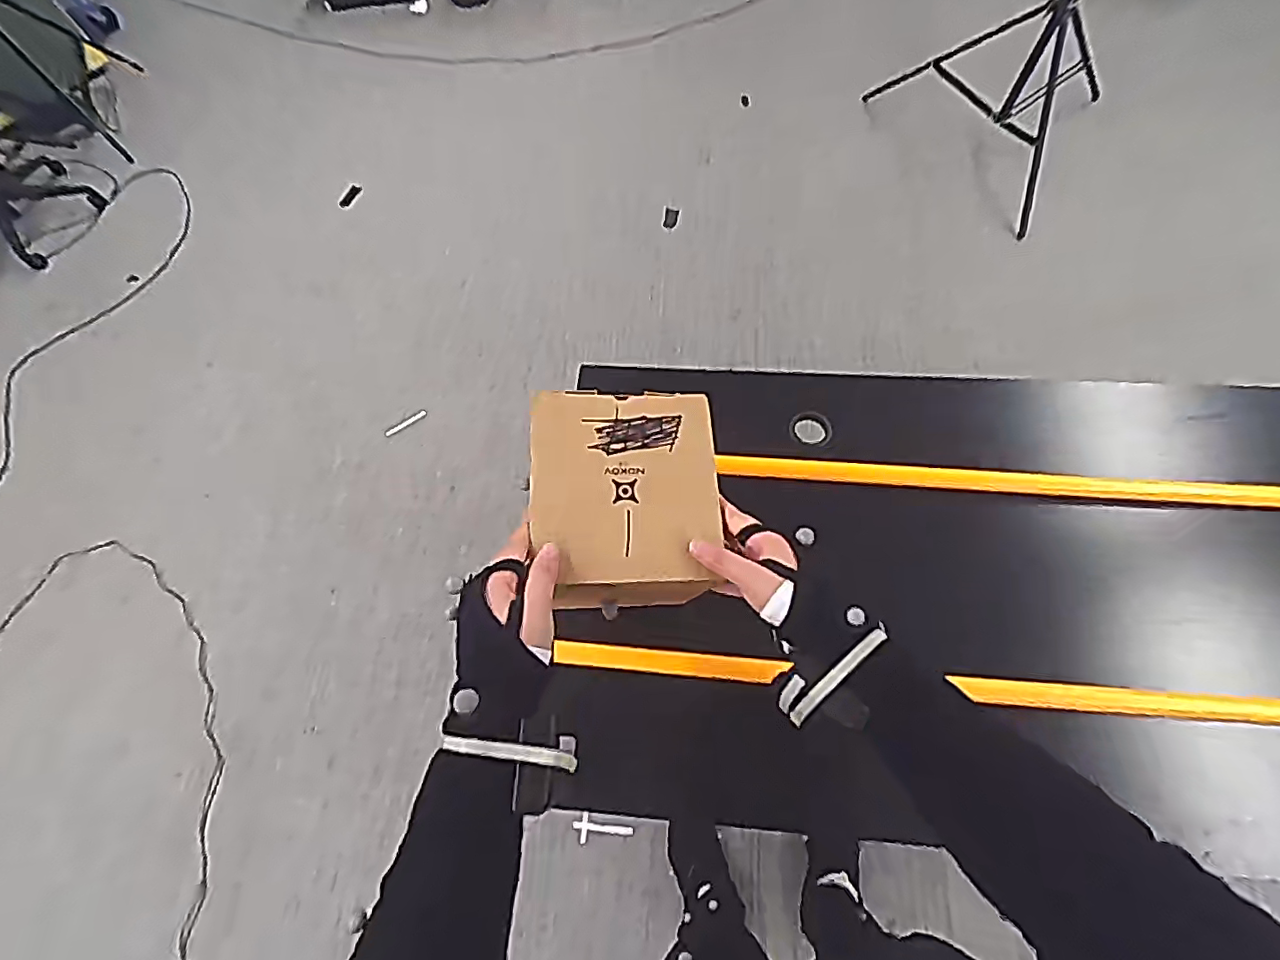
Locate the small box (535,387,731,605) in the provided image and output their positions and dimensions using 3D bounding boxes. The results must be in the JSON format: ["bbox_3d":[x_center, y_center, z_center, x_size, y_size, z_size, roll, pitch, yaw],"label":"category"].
[{"bbox_3d":[-0.020,0.025,0.544,0.168,0.176,0.179,0,71,-9],"label":"small box"}]
